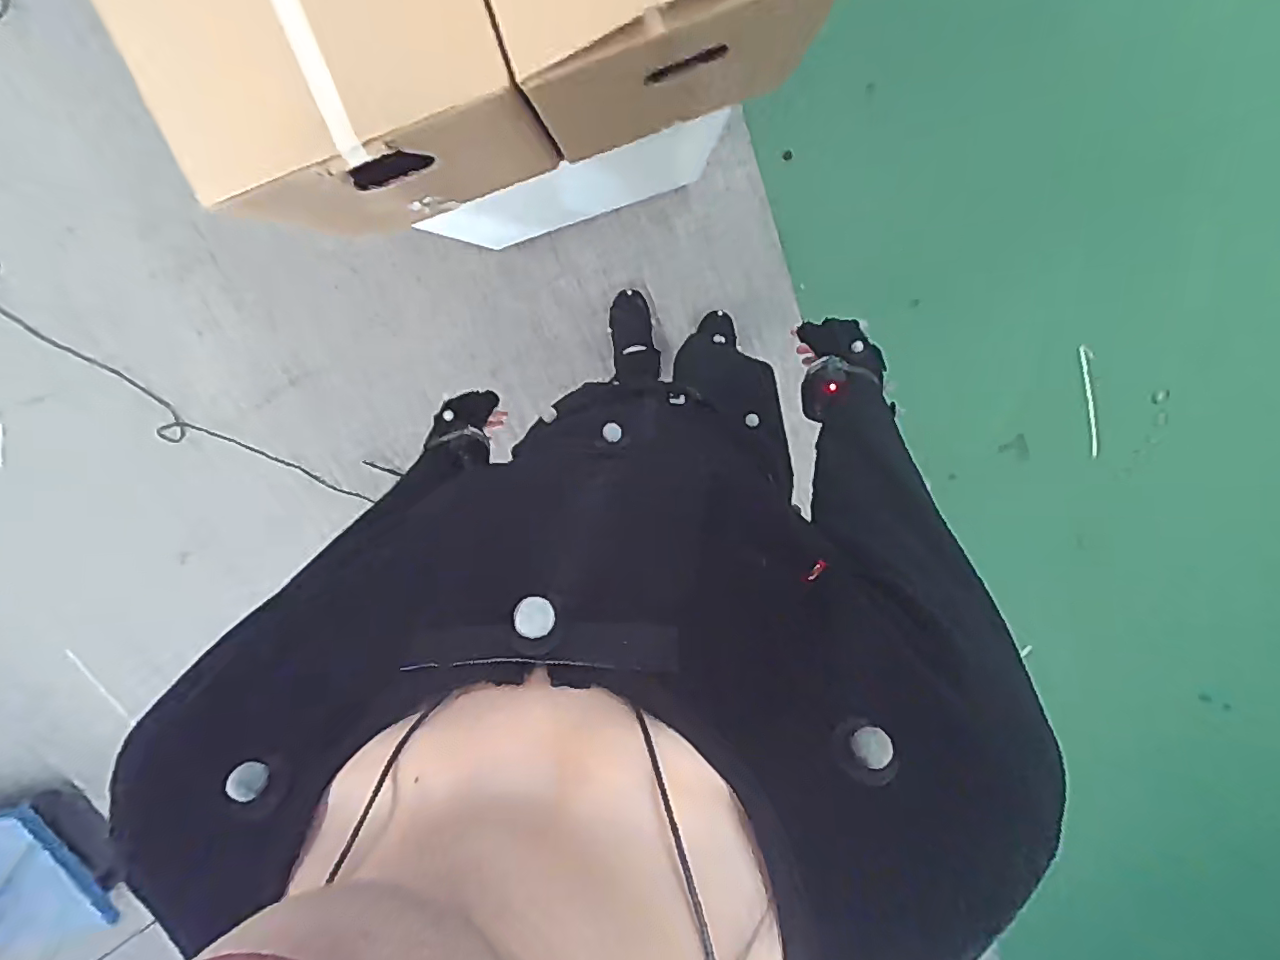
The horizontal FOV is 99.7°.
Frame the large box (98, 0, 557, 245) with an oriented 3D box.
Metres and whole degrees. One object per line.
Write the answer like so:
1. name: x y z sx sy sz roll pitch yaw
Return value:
1. large box: -0.323 -0.521 0.578 0.320 0.320 0.408 -18 106 6
